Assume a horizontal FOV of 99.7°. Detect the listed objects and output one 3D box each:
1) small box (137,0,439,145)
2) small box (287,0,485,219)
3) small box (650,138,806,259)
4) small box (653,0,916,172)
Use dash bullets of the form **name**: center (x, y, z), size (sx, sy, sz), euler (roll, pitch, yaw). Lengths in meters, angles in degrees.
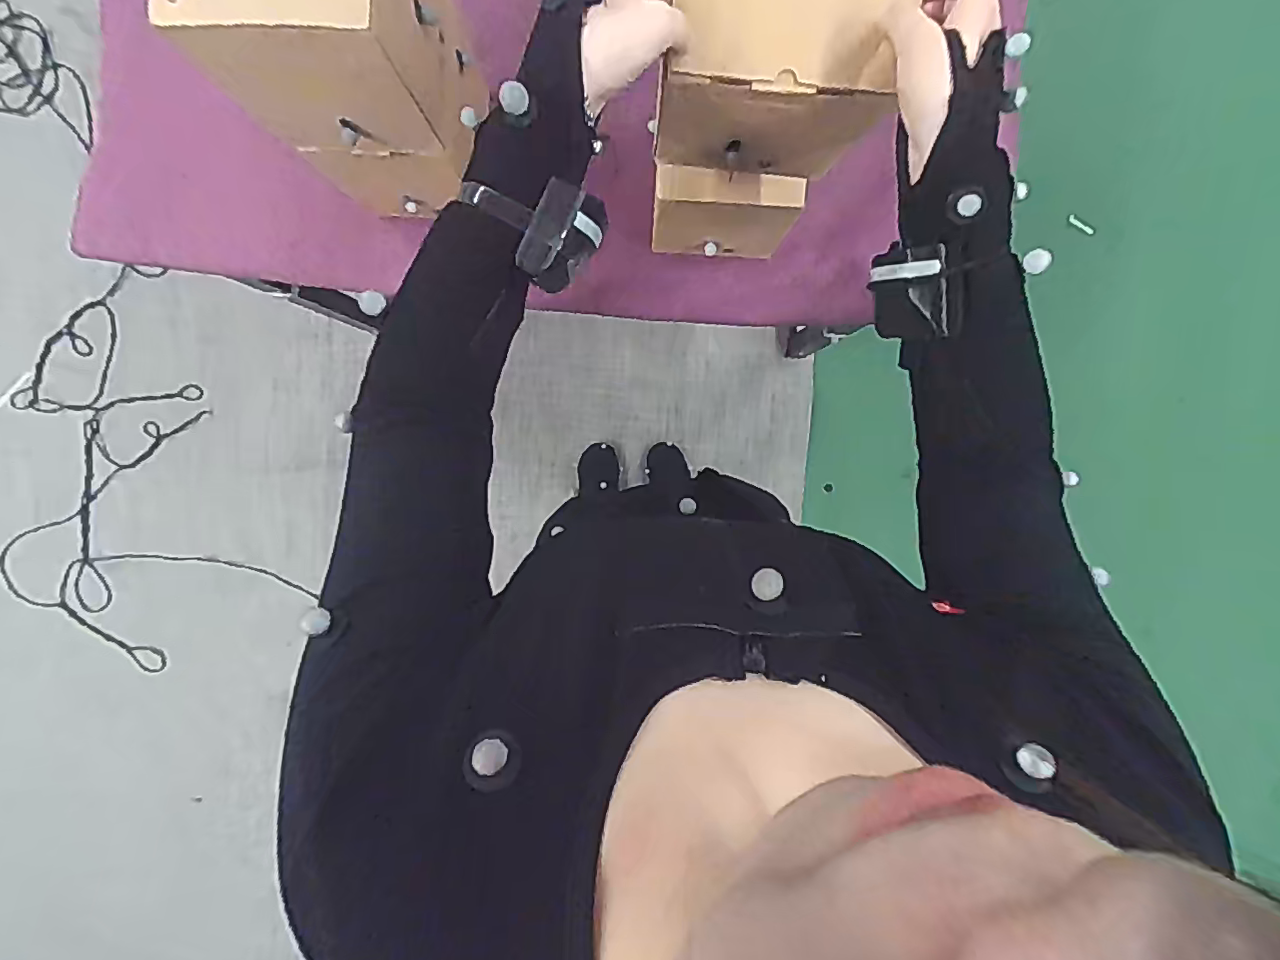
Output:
- **small box**: center (-0.294, -0.432, 0.488), size (0.179, 0.176, 0.168), euler (2, 93, 0)
- **small box**: center (-0.292, -0.443, 0.651), size (0.168, 0.176, 0.179), euler (2, 93, 0)
- **small box**: center (0.100, -0.390, 0.656), size (0.168, 0.176, 0.179), euler (4, 94, 0)
- **small box**: center (0.100, -0.369, 0.421), size (0.168, 0.176, 0.179), euler (4, 104, -2)
